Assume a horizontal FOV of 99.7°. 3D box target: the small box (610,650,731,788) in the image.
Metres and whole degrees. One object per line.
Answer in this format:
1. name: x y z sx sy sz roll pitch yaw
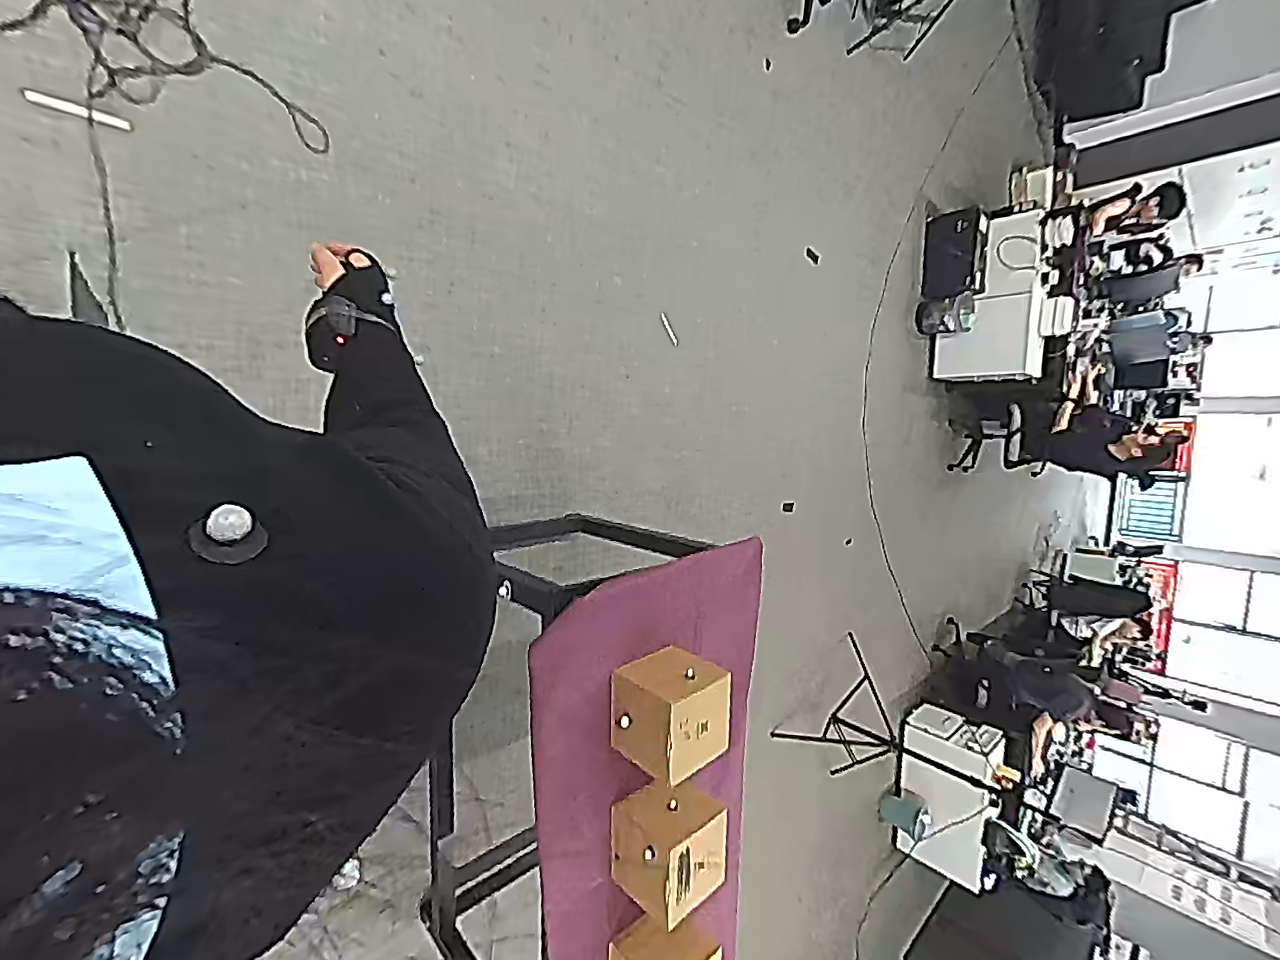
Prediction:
1. small box: 0.060 0.463 1.084 0.179 0.176 0.168 -7 101 -42

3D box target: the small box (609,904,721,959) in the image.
1. small box: 0.047 1.063 1.147 0.179 0.176 0.168 1 94 -44
